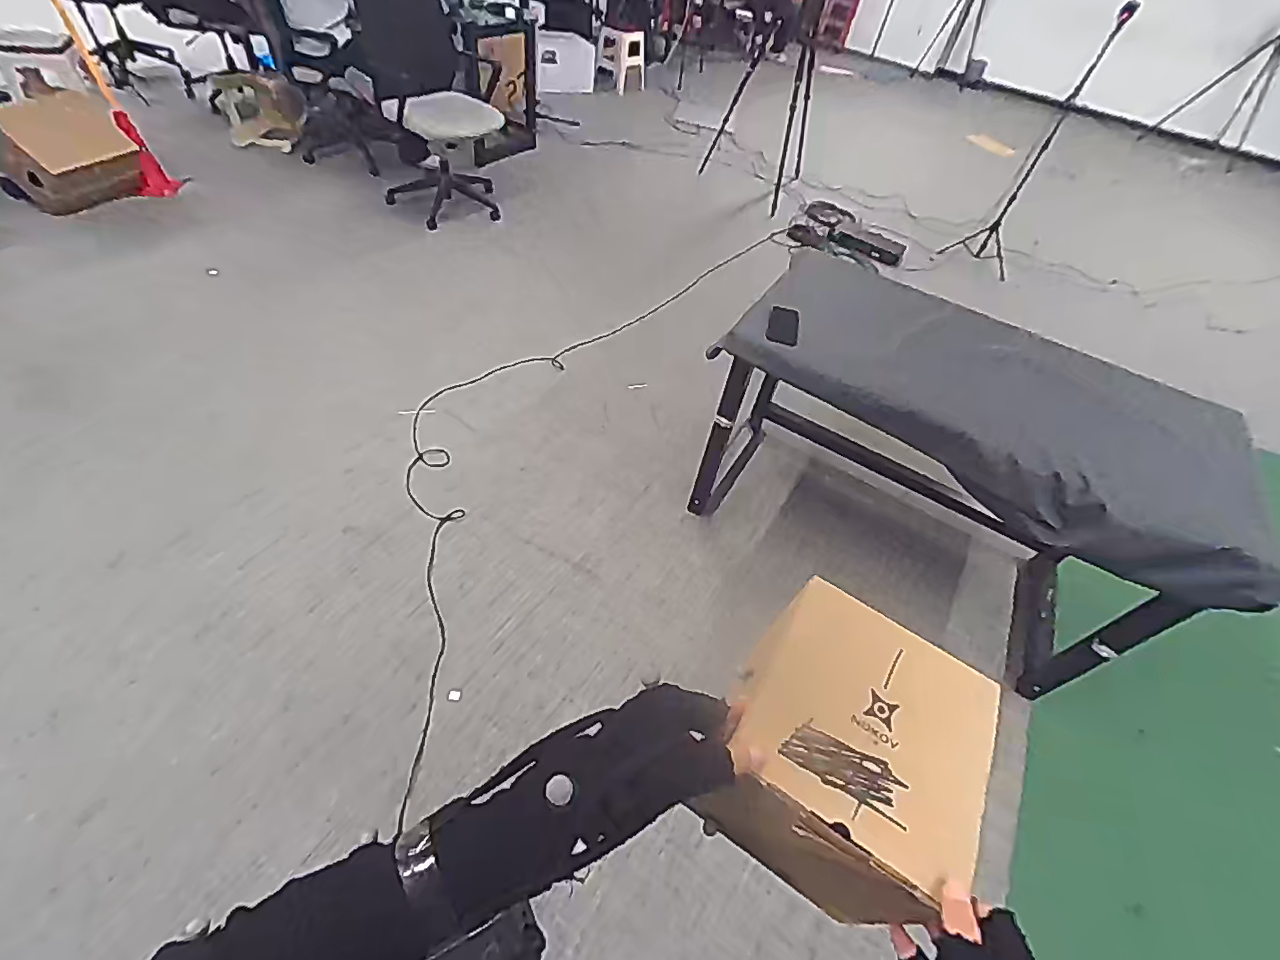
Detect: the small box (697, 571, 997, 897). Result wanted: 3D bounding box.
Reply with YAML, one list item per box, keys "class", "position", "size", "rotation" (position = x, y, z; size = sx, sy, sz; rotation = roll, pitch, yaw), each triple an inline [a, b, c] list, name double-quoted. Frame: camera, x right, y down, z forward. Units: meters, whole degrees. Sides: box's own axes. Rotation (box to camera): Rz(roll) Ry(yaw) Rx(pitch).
- class: "small box"
  position: [0.164, 0.221, 0.467]
  size: [0.168, 0.176, 0.179]
  rotation: [31, 51, 13]
